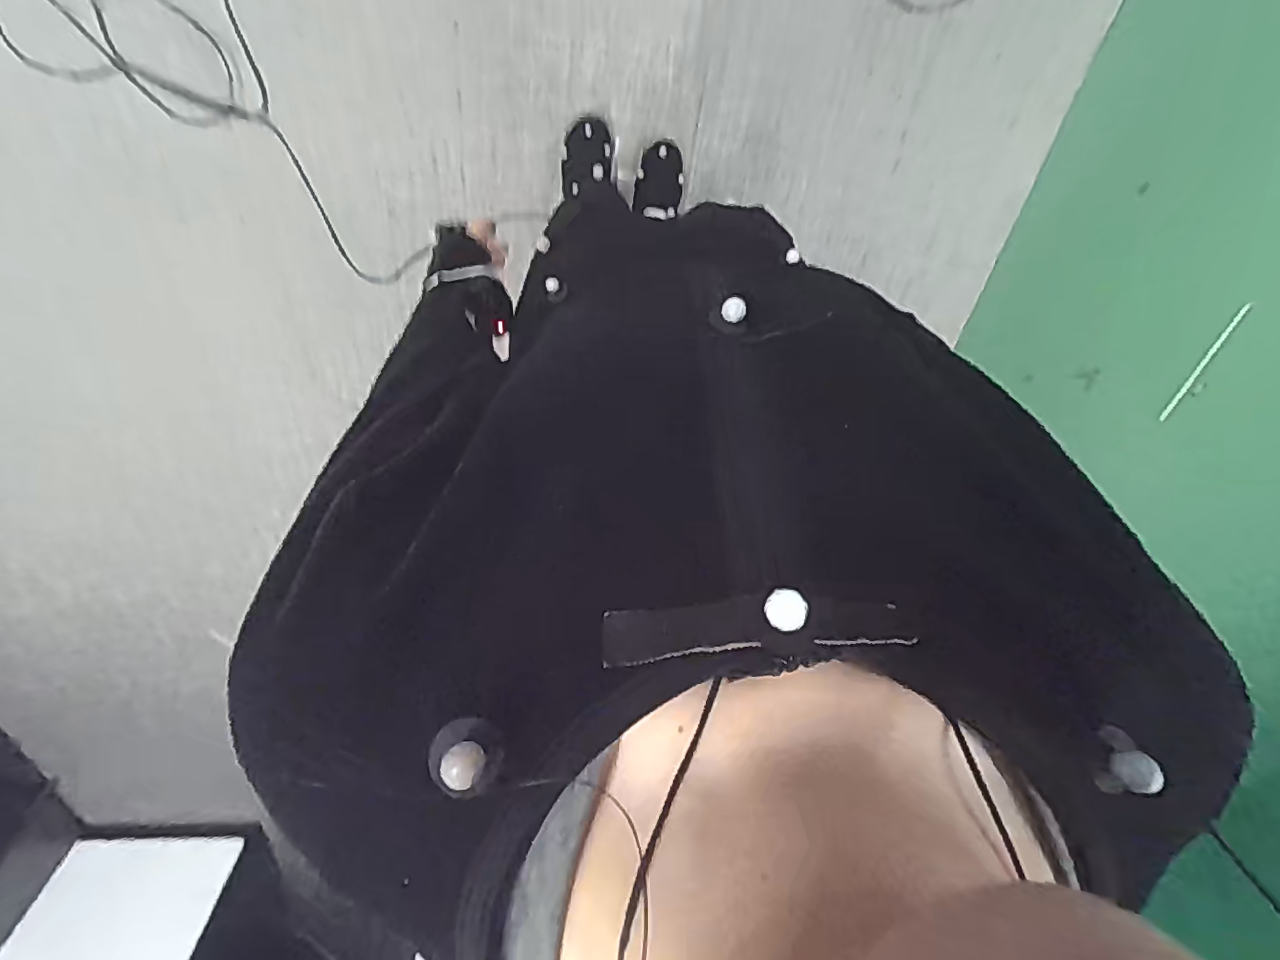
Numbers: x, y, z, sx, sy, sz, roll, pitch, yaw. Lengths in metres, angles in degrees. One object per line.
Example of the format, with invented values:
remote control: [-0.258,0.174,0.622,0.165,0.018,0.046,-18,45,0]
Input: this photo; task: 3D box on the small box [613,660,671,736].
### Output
small box: [0.003,0.745,1.847,0.168,0.176,0.179,8,122,-9]
